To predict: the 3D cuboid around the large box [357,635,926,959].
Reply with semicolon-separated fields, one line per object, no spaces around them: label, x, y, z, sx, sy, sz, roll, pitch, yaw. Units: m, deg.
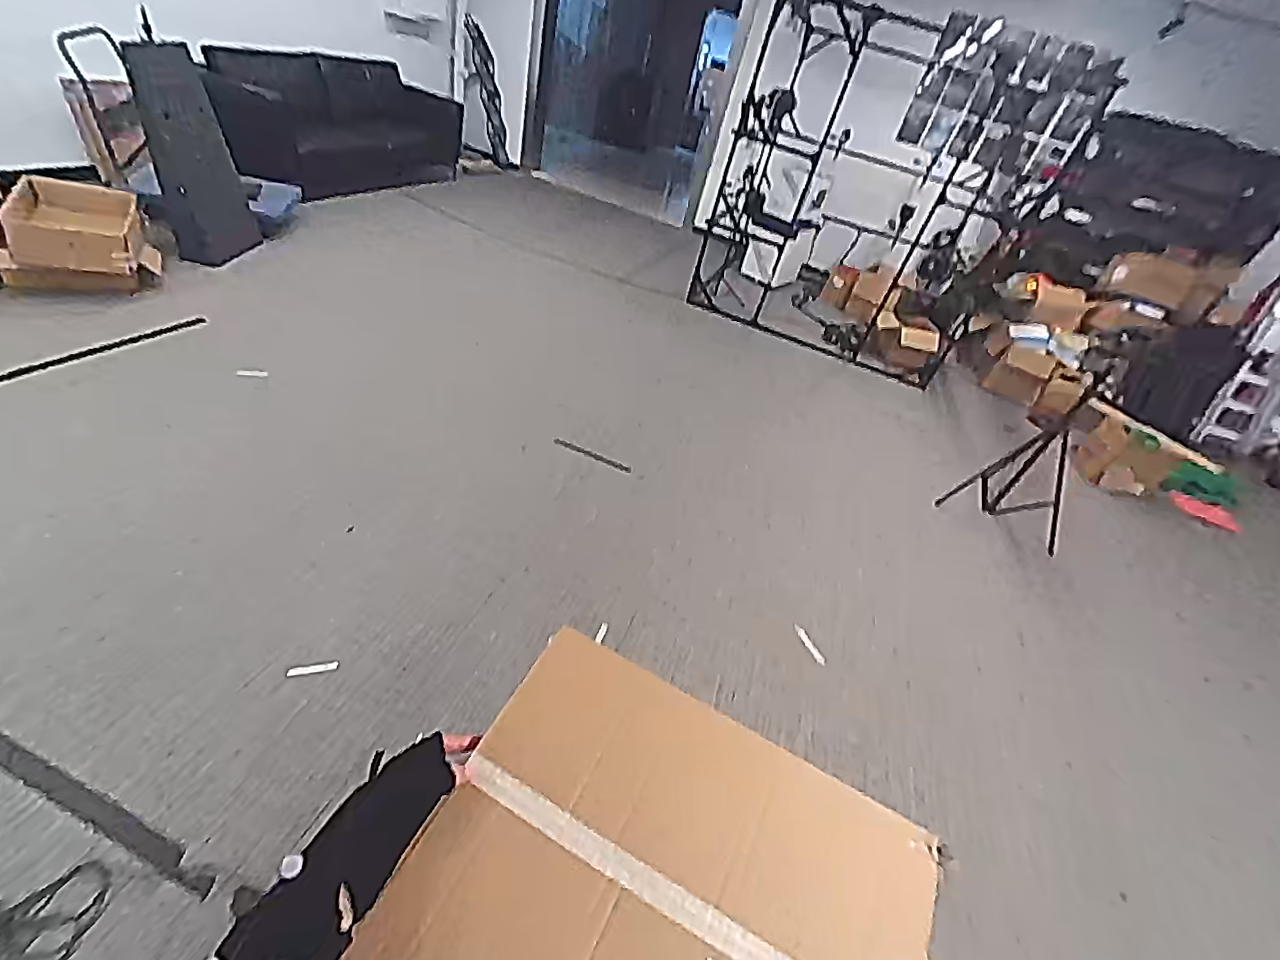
large box;0.007;0.441;0.565;0.408;0.320;0.320;26;50;13
